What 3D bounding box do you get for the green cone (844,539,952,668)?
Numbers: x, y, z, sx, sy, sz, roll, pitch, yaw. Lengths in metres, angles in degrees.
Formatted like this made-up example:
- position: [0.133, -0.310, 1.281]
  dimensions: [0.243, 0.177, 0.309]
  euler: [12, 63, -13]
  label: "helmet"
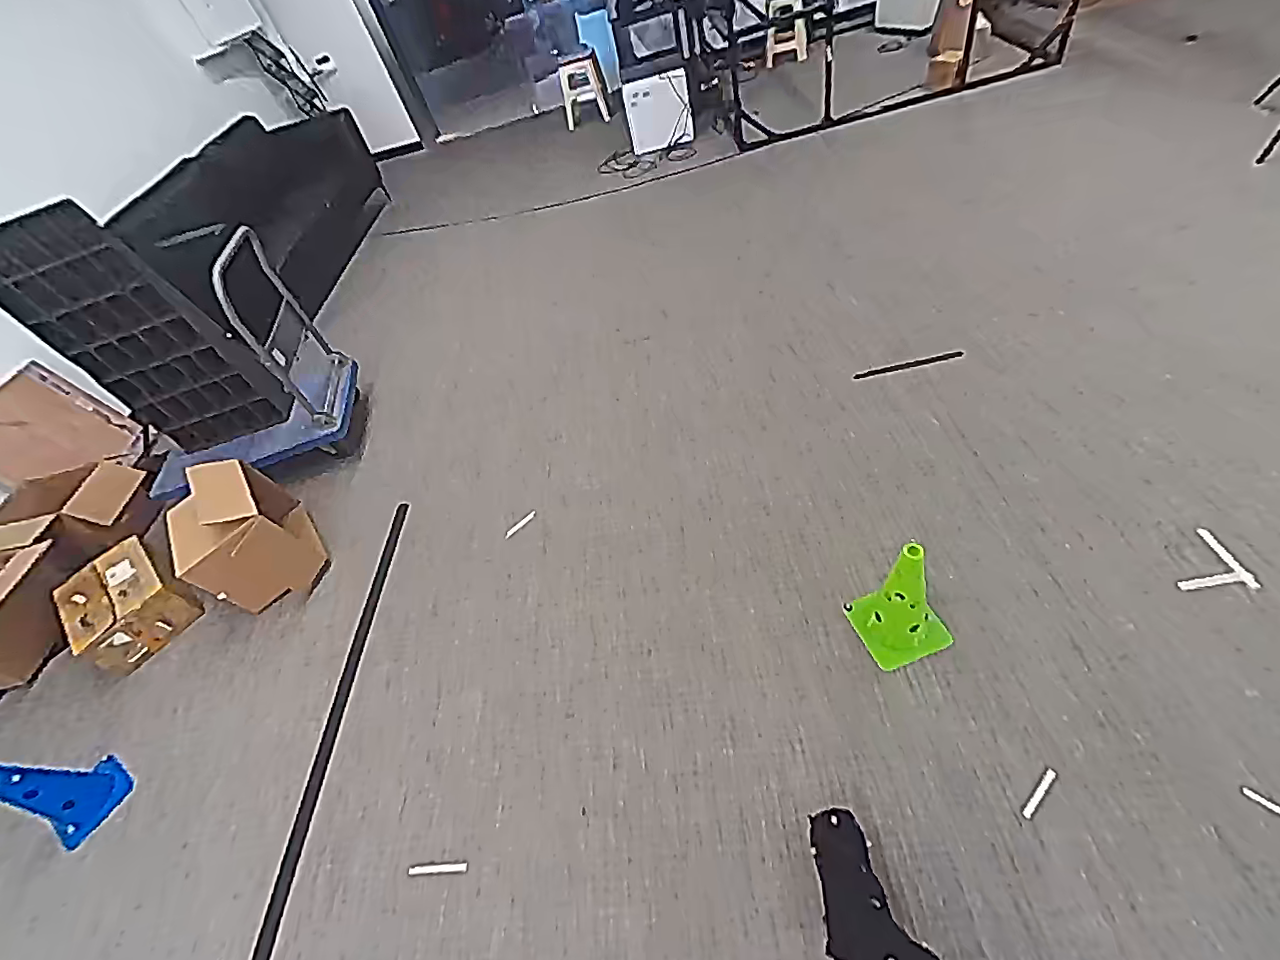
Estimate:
- position: [0.628, 0.260, 1.277]
  dimensions: [0.202, 0.368, 0.200]
  euler: [-22, 48, -3]
  label: "green cone"
